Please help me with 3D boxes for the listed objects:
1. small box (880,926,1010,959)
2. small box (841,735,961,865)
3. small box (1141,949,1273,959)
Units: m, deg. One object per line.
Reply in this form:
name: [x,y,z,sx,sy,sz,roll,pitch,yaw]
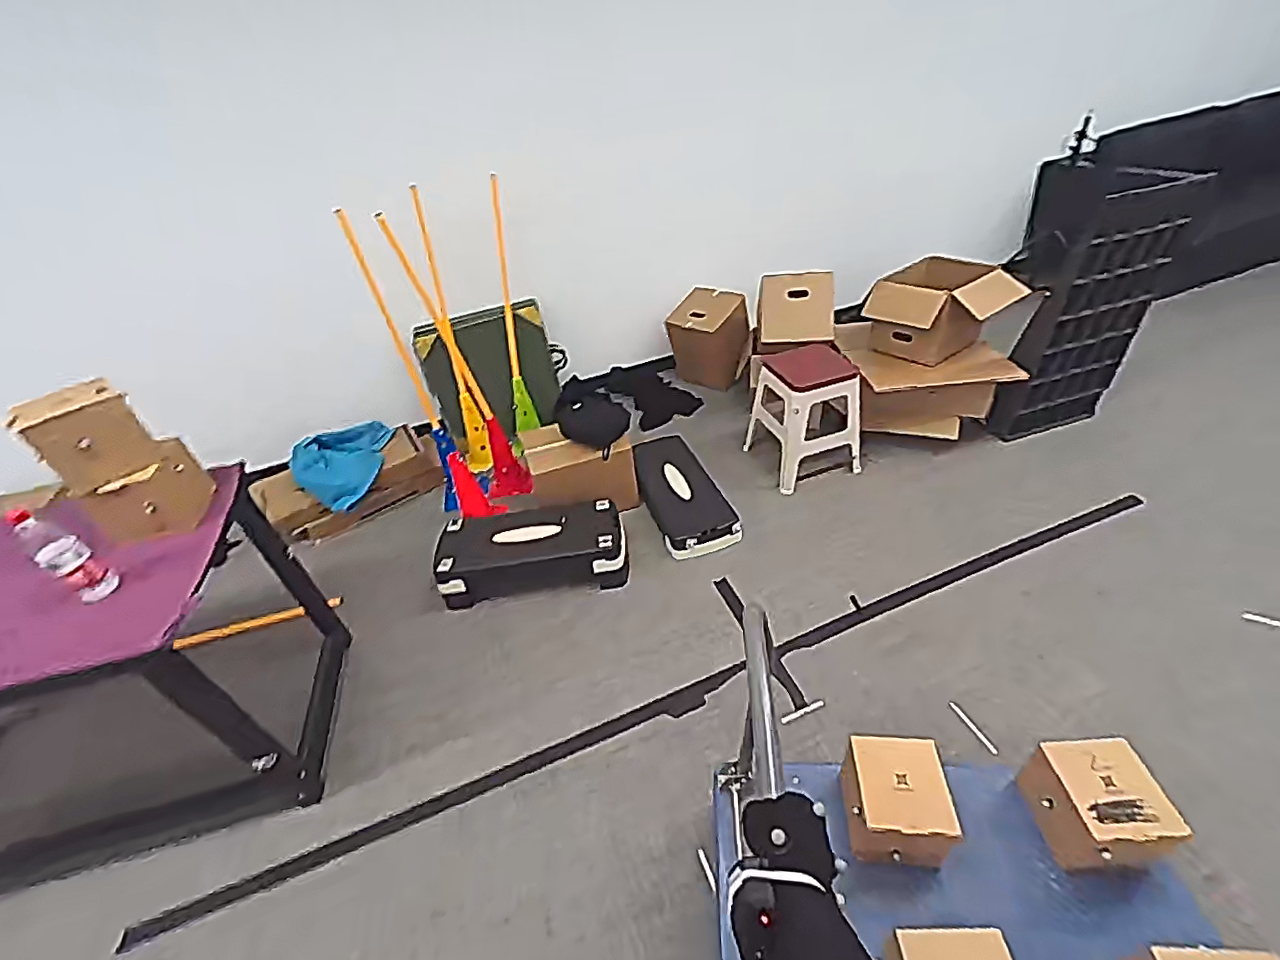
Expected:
small box: [0.501,0.844,0.861,0.168,0.176,0.179,-4,38,5]
small box: [0.517,0.651,1.103,0.168,0.176,0.179,0,41,8]
small box: [0.874,0.837,0.813,0.179,0.176,0.168,-2,38,8]
